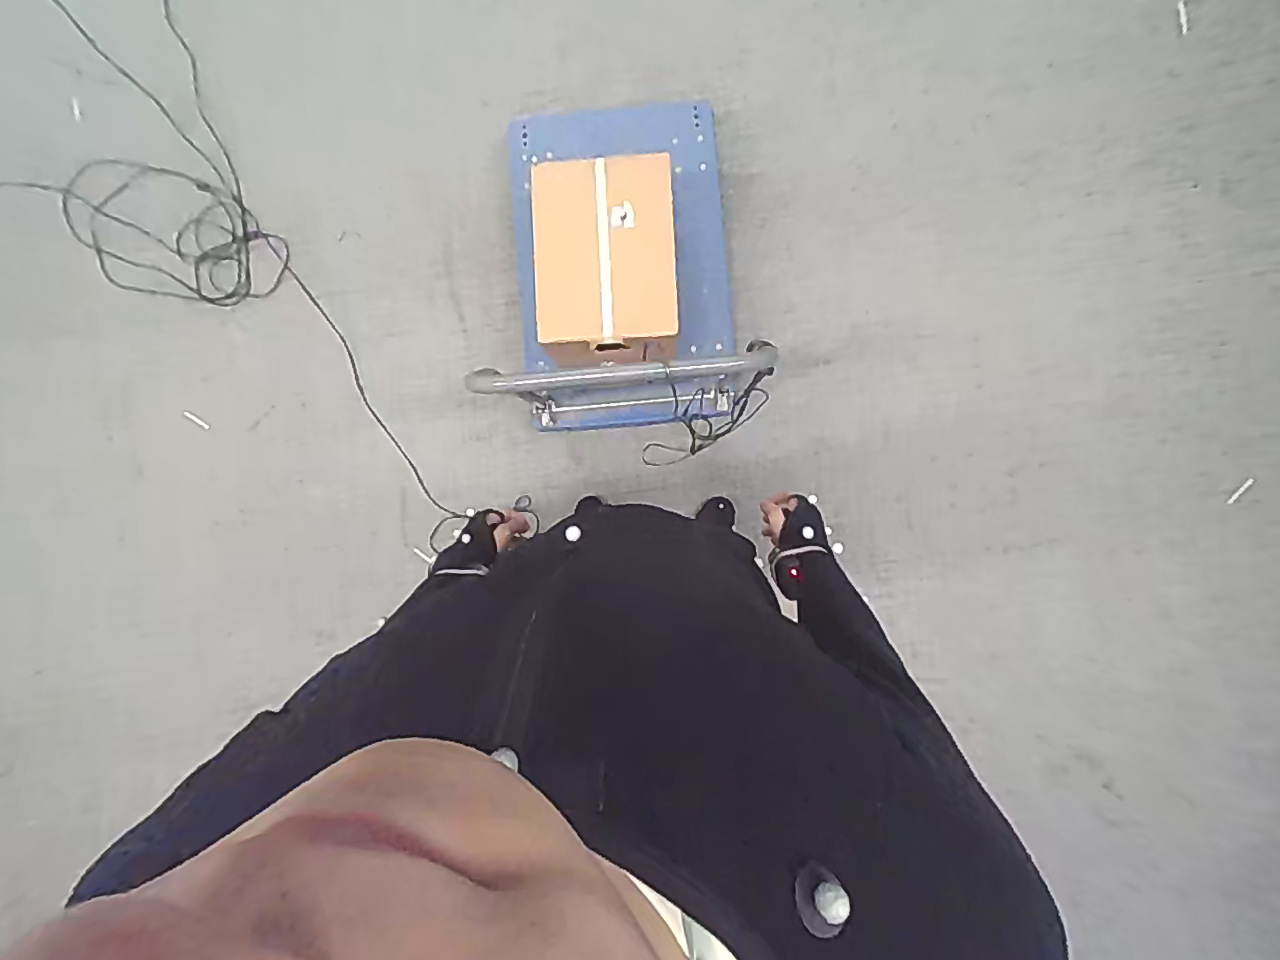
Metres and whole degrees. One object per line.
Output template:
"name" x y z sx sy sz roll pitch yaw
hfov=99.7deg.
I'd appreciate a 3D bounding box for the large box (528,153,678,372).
"large box" -0.076 -0.502 1.325 0.320 0.320 0.408 -2 88 2
